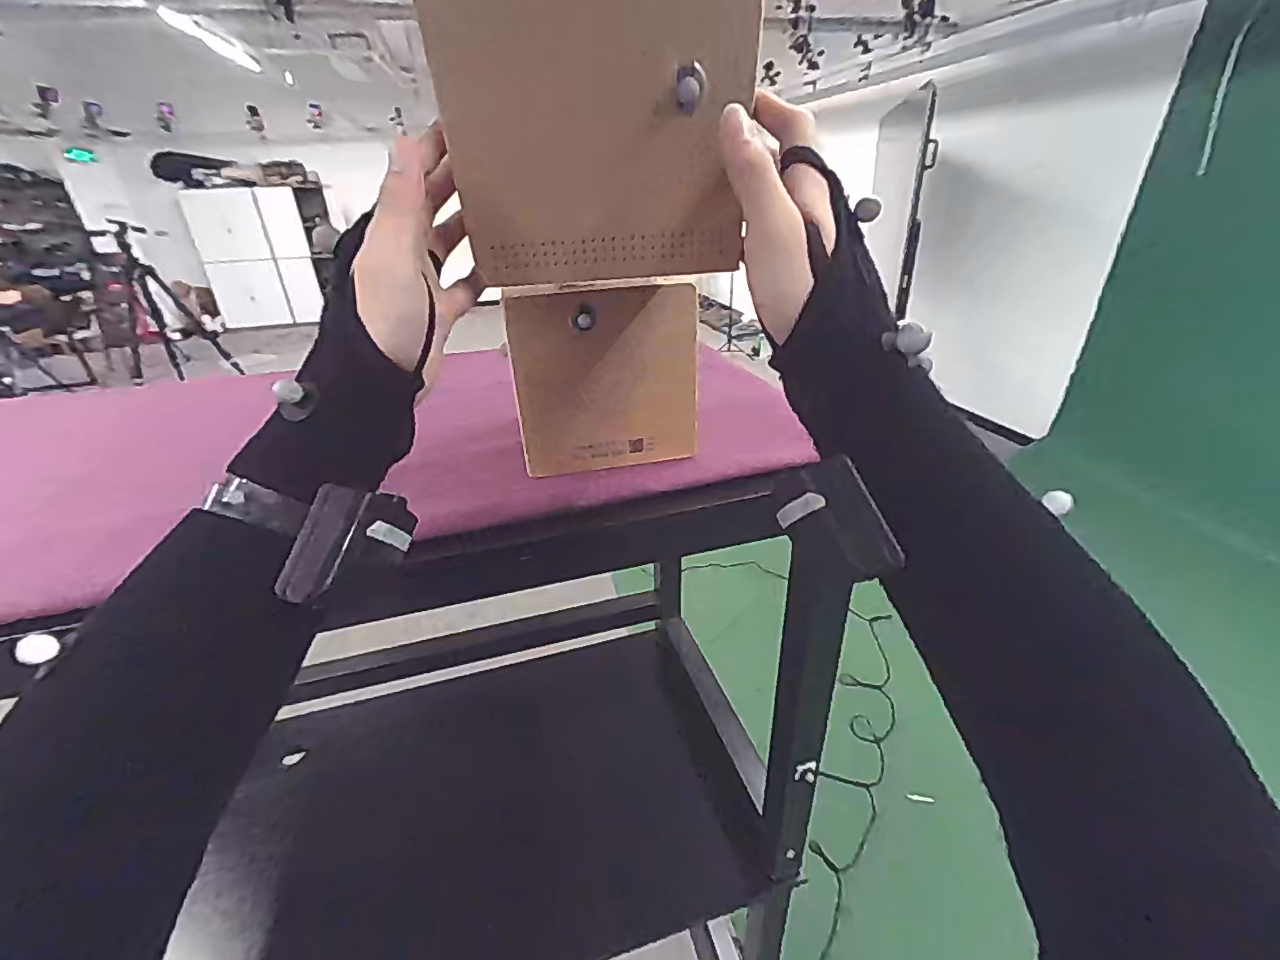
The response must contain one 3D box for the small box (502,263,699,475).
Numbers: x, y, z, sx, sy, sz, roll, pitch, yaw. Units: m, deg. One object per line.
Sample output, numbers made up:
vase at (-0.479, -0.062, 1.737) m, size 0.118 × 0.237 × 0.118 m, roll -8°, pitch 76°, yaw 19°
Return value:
small box at (-0.044, -0.121, 0.554) m, size 0.168 × 0.176 × 0.179 m, roll -8°, pitch 29°, yaw -9°
